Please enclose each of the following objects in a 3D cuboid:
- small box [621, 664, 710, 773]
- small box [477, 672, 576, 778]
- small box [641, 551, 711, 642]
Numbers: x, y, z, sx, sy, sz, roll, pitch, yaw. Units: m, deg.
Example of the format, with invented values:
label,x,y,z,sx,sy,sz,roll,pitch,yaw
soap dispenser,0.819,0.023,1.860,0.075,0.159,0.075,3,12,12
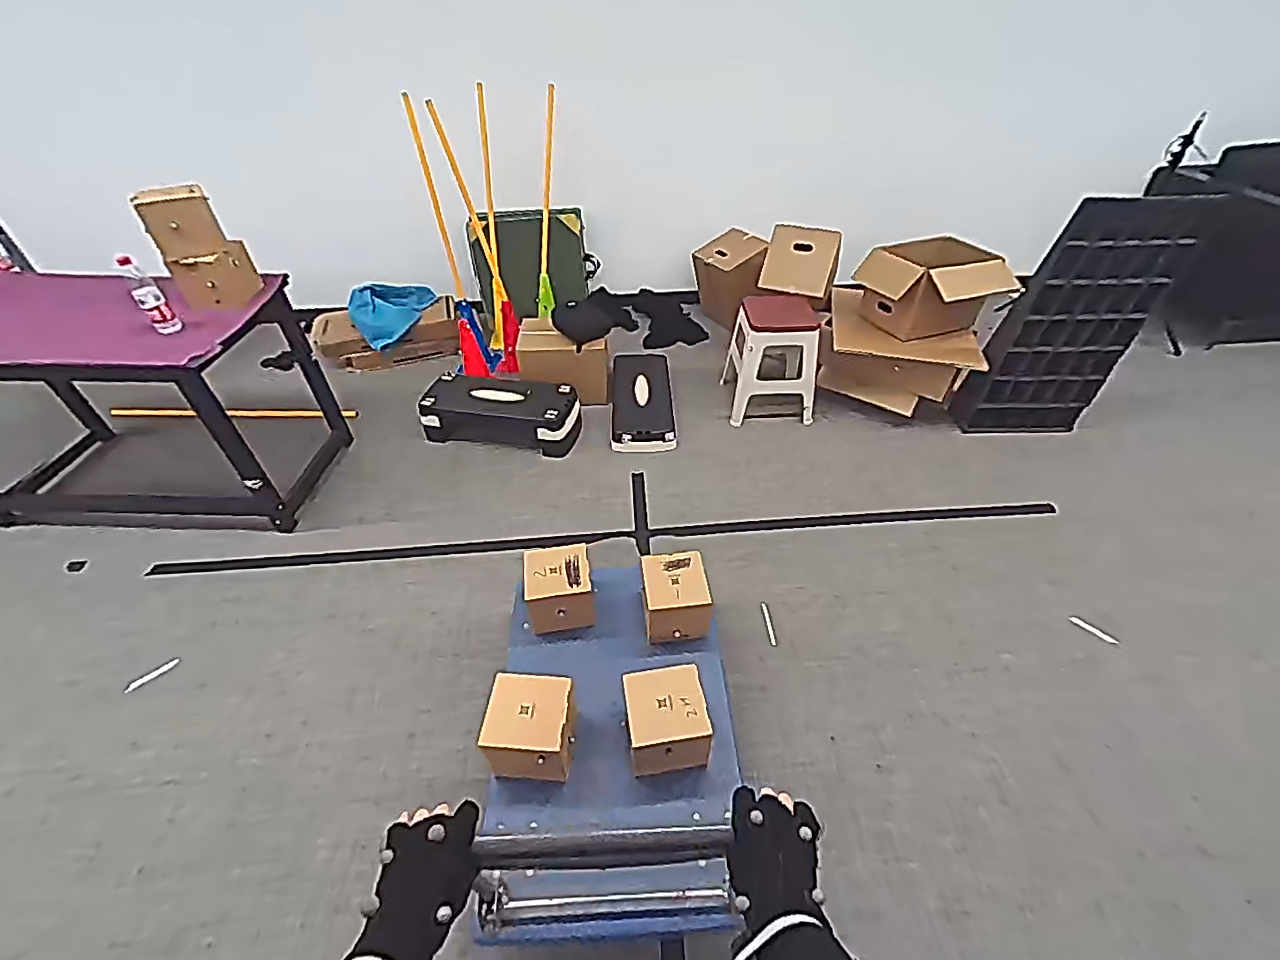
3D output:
label,x,y,z,sx,sy,sz,roll,pitch,yaw
small box,0.055,0.547,1.236,0.179,0.176,0.168,-6,44,-6
small box,-0.249,0.558,1.228,0.179,0.176,0.168,3,43,2
small box,0.092,0.318,1.481,0.168,0.176,0.179,-5,44,-4
